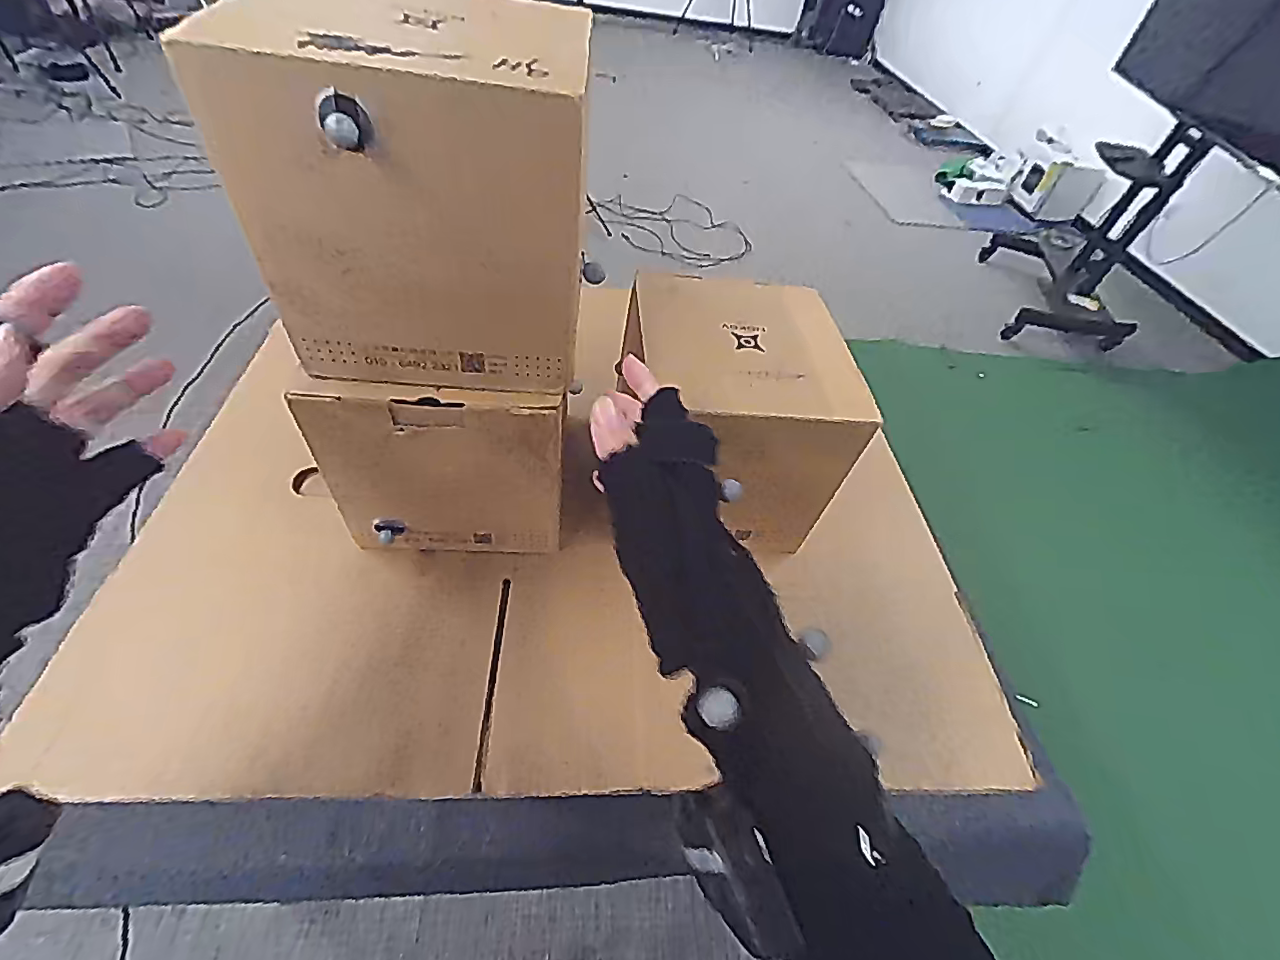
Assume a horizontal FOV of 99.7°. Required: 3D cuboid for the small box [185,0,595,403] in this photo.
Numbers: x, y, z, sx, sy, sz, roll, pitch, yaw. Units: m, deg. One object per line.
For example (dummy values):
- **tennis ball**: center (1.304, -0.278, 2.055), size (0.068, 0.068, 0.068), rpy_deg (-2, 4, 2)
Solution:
- **small box**: center (-0.120, -0.174, 0.344), size (0.168, 0.176, 0.179), rpy_deg (4, 49, -6)
